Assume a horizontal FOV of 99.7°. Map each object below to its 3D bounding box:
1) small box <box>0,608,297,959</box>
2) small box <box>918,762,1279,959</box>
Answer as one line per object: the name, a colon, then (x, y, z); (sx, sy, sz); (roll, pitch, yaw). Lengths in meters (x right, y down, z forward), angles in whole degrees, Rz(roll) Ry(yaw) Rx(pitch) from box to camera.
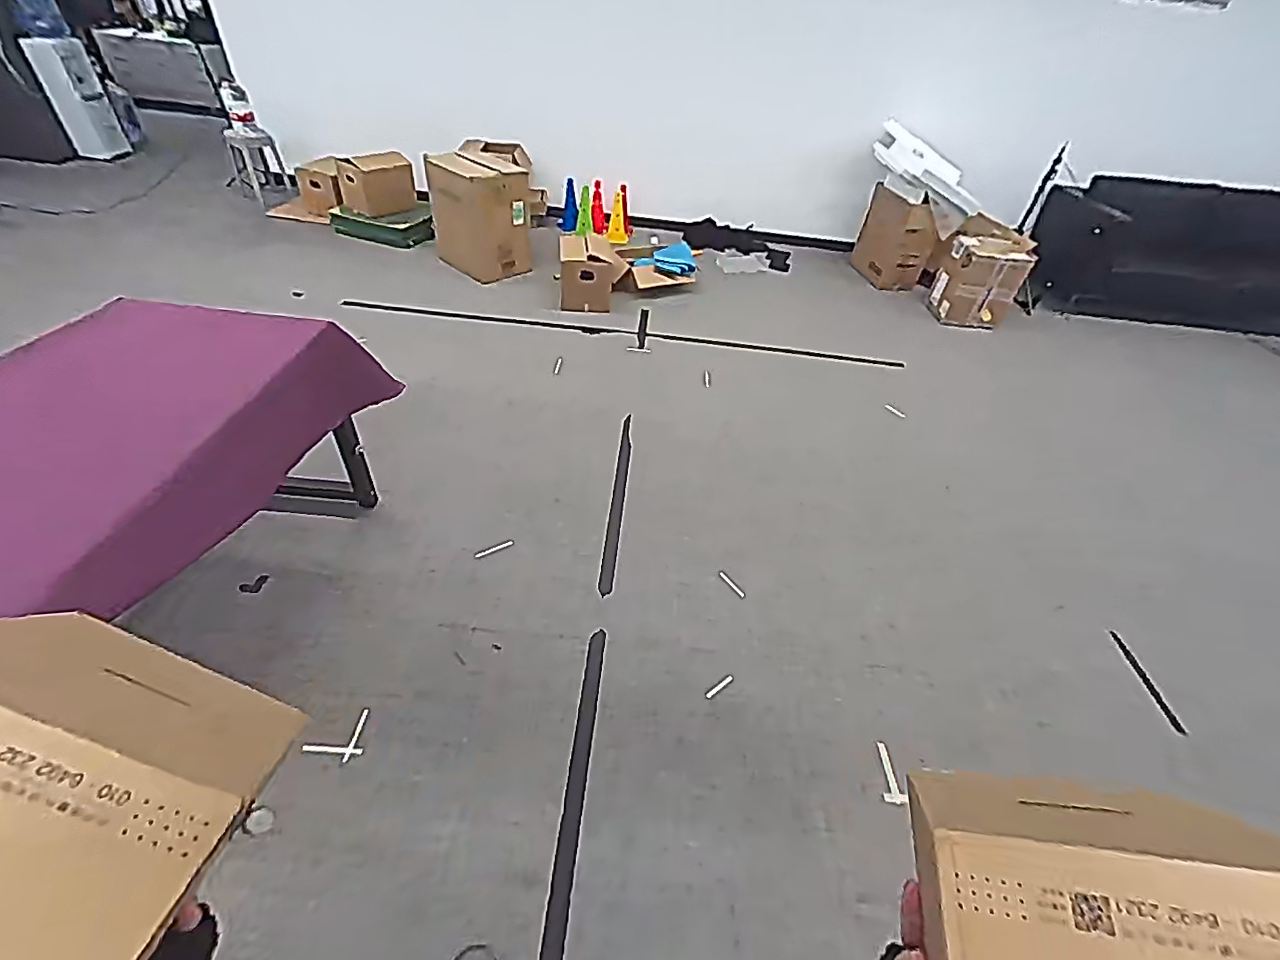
small box: (-0.312, 0.175, 0.270); (0.168, 0.179, 0.176); (33, 68, -14)
small box: (0.250, 0.257, 0.283); (0.168, 0.179, 0.176); (-4, 72, 22)
